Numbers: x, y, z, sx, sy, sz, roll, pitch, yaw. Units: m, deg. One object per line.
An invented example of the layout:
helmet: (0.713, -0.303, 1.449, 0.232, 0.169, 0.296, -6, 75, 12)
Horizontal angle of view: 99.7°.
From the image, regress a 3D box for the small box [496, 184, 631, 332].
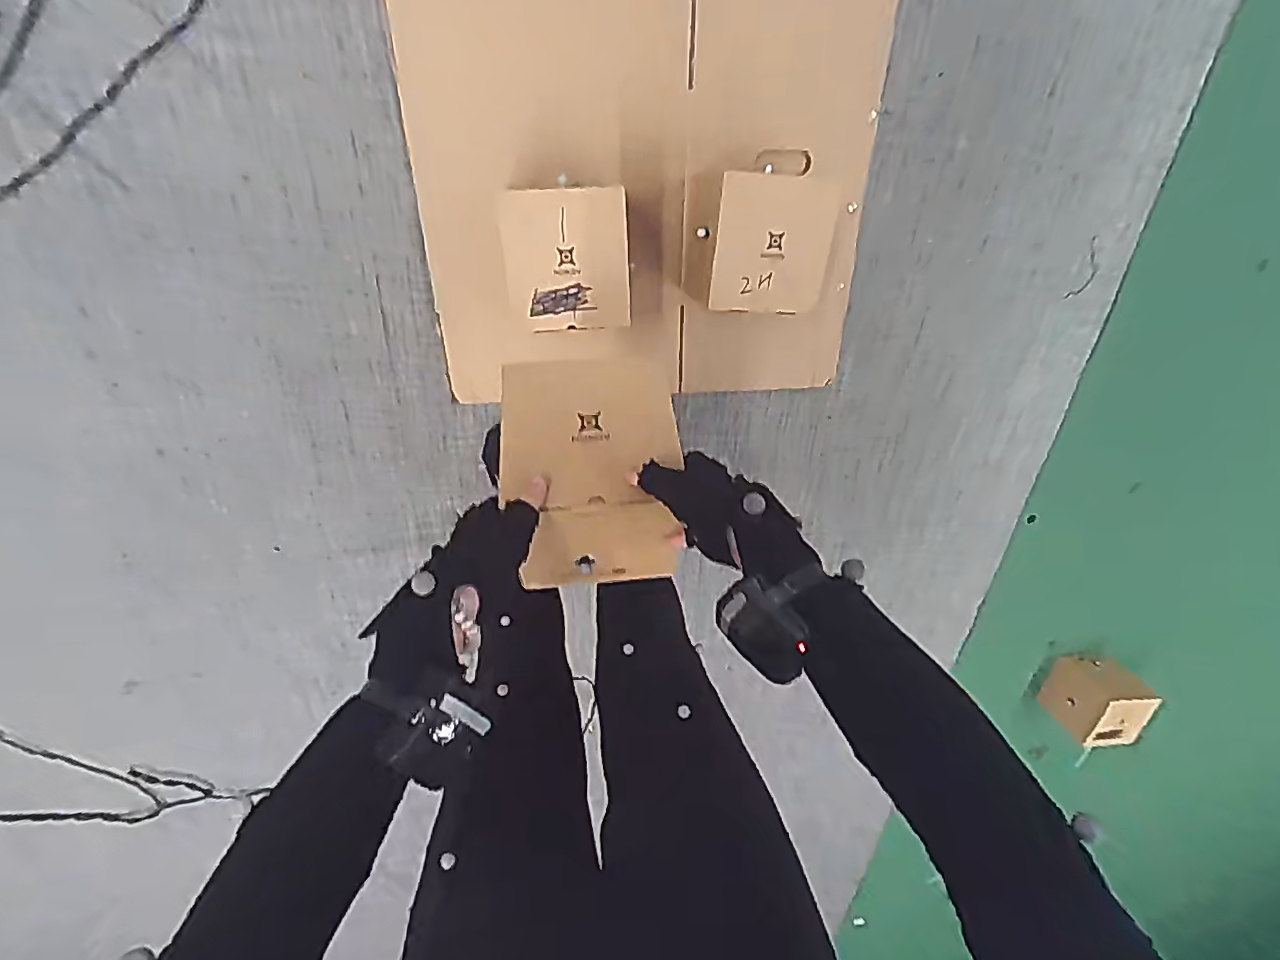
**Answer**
small box: (-0.103, -0.321, 0.772, 0.168, 0.176, 0.179, -5, 118, -6)

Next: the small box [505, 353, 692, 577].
small box: (-0.048, -0.013, 0.578, 0.168, 0.179, 0.176, -4, 148, -6)

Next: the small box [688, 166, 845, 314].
small box: (0.173, -0.355, 0.802, 0.168, 0.176, 0.179, 1, 118, -8)
